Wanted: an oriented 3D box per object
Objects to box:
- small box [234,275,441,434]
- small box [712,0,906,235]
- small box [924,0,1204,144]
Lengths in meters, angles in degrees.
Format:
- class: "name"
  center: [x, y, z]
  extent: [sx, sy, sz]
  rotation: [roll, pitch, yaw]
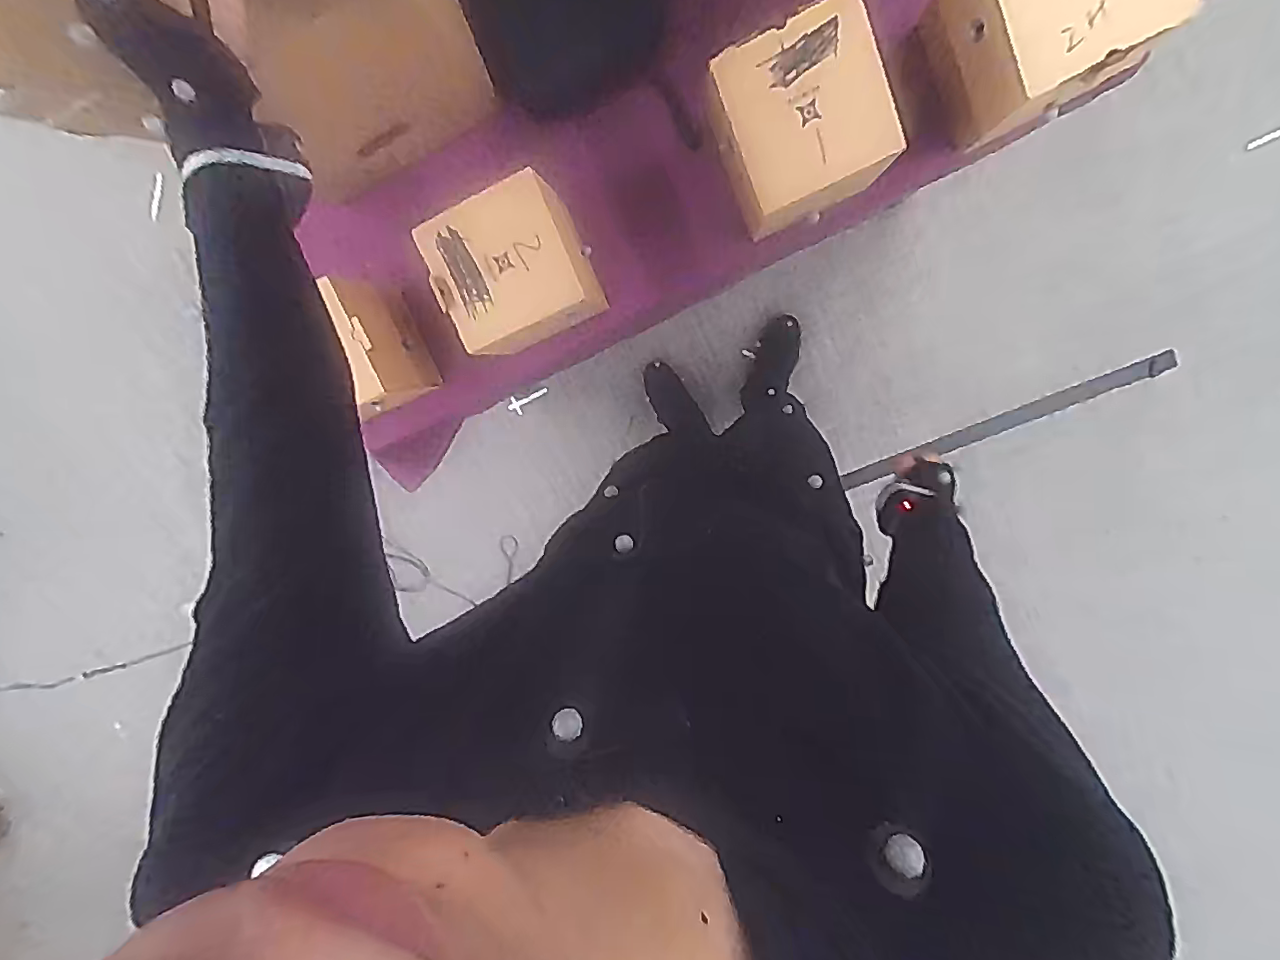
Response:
- class: "small box"
  center: [-0.439, -0.184, 0.812]
  extent: [0.179, 0.176, 0.168]
  rotation: [-21, 100, 11]
- class: "small box"
  center: [0.193, -0.432, 0.664]
  extent: [0.168, 0.176, 0.179]
  rotation: [-21, 101, 13]
- class: "small box"
  center: [0.449, -0.525, 0.605]
  extent: [0.168, 0.176, 0.179]
  rotation: [-23, 100, 14]
